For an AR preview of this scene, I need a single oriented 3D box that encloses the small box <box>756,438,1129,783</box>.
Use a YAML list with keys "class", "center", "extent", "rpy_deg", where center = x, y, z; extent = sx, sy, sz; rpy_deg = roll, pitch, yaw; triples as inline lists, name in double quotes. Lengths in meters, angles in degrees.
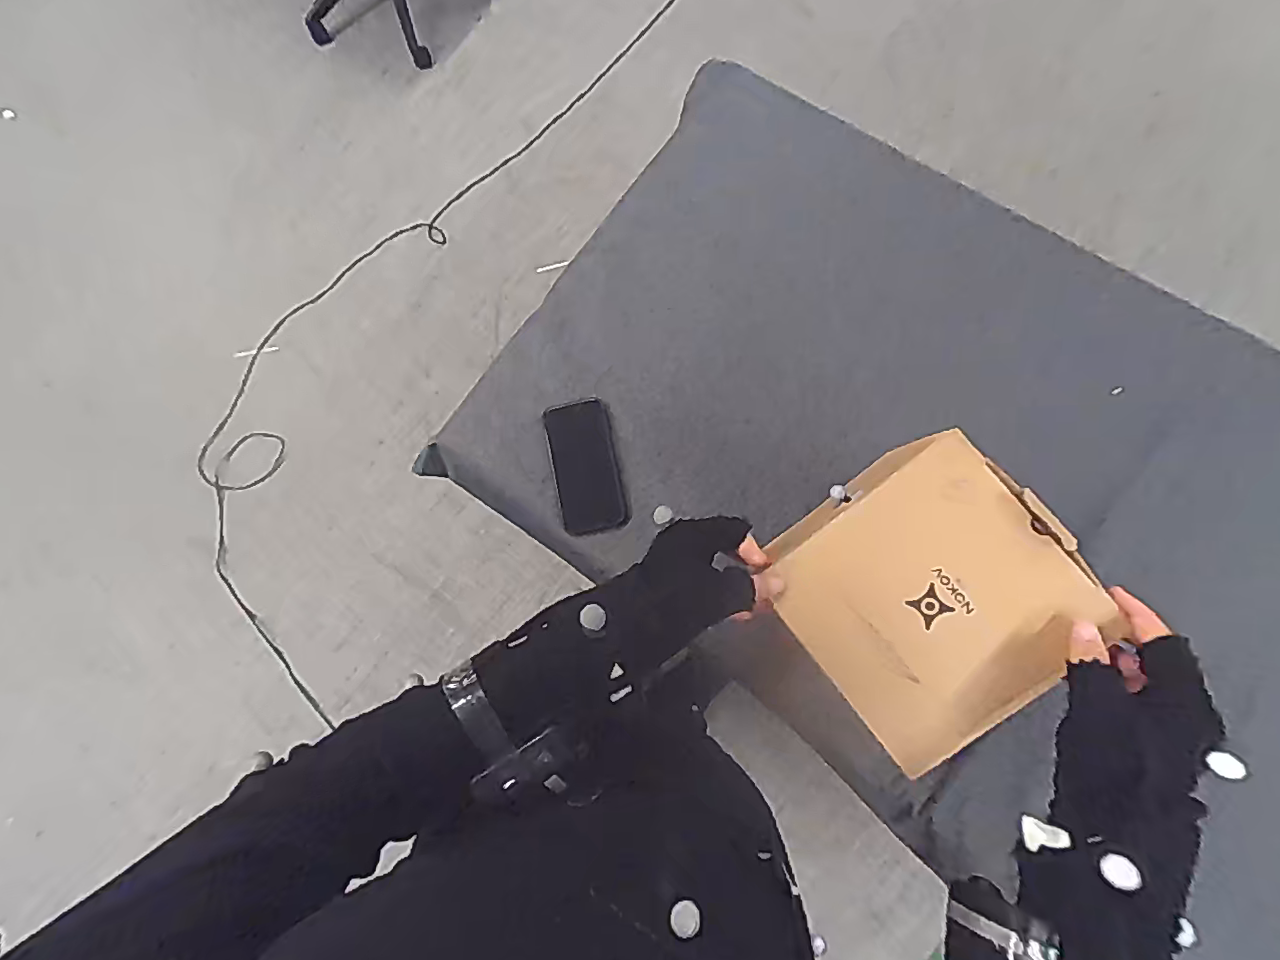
- class: "small box"
  center: [0.208, 0.090, 0.438]
  extent: [0.179, 0.176, 0.168]
  rpy_deg: [-39, 80, 6]
